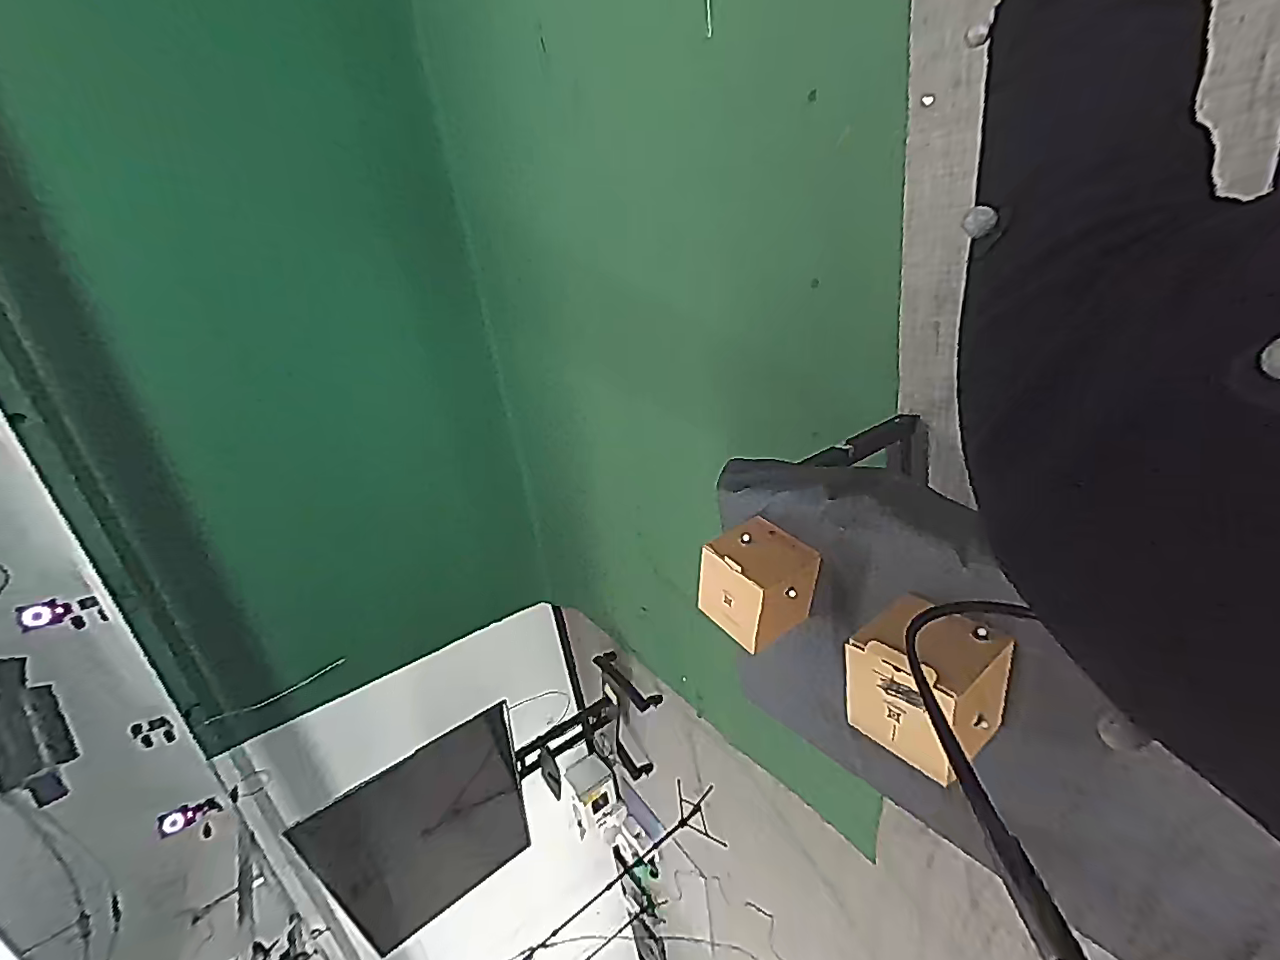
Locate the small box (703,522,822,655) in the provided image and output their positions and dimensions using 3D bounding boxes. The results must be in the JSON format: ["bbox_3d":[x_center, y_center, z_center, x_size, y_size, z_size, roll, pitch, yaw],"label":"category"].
[{"bbox_3d":[0.248,0.212,1.106,0.168,0.176,0.179,36,138,44],"label":"small box"}]

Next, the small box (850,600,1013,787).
[{"bbox_3d":[0.451,0.318,0.844,0.168,0.176,0.179,22,128,52],"label":"small box"}]
